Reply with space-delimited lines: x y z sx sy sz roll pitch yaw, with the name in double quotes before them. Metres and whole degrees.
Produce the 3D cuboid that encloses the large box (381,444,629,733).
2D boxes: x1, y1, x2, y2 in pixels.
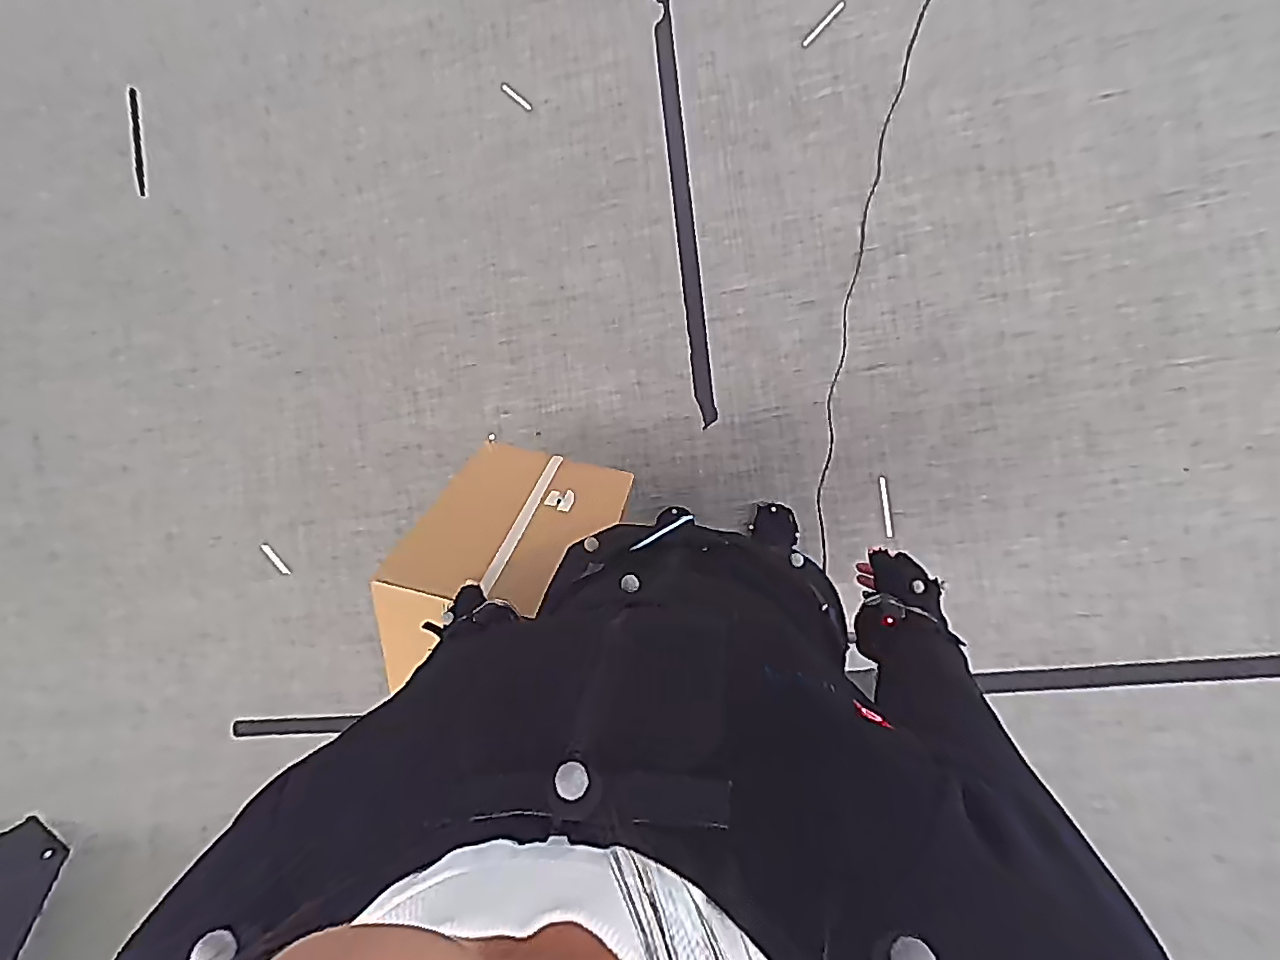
"large box" -0.224 0.188 1.024 0.320 0.408 0.320 14 125 3
